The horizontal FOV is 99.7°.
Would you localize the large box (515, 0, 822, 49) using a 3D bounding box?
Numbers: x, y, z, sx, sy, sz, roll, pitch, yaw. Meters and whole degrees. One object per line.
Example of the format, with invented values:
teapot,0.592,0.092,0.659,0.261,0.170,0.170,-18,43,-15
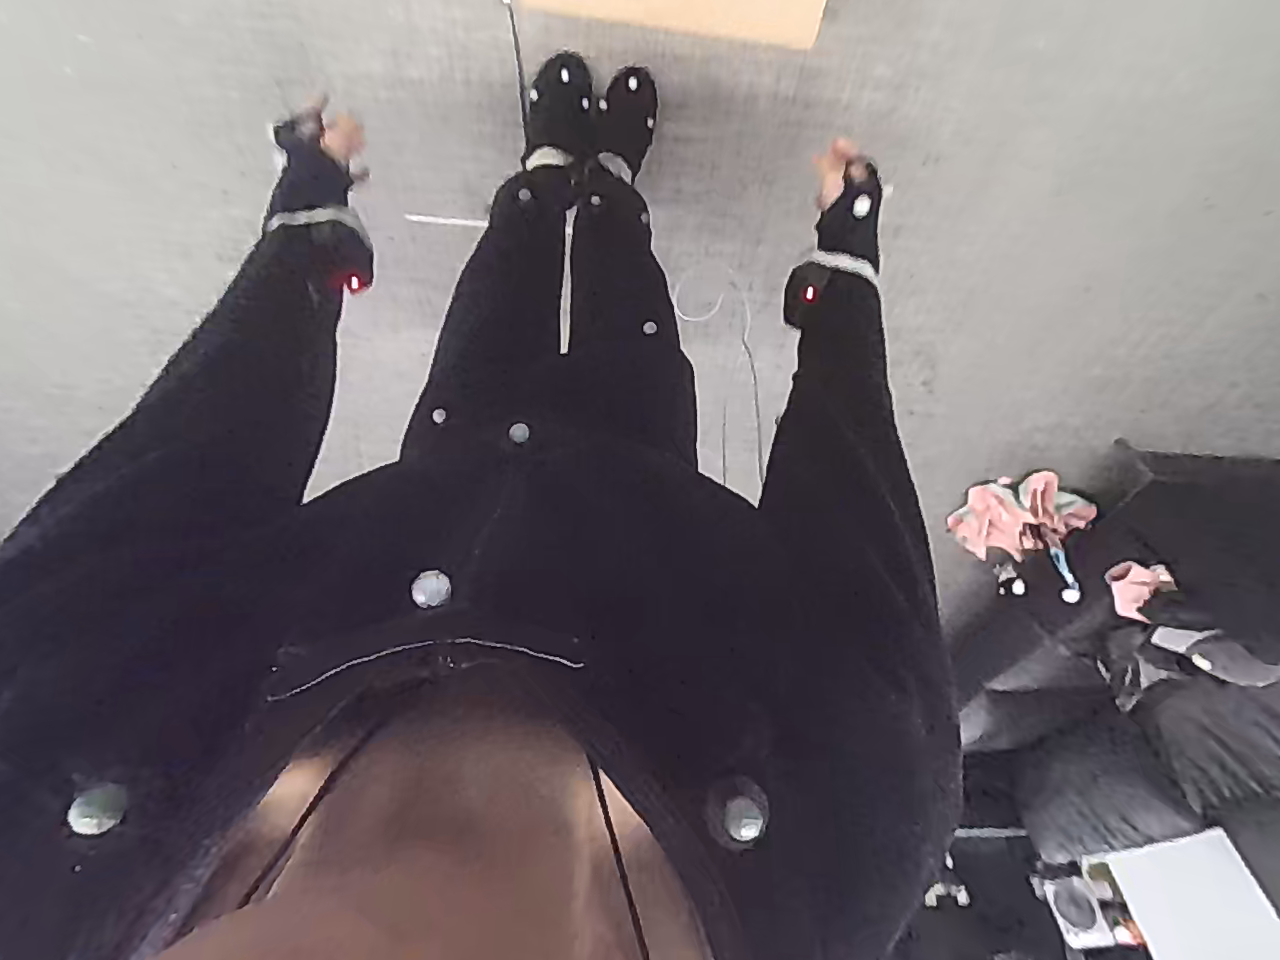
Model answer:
large box,0.052,-0.814,0.710,0.408,0.320,0.320,5,137,-5
